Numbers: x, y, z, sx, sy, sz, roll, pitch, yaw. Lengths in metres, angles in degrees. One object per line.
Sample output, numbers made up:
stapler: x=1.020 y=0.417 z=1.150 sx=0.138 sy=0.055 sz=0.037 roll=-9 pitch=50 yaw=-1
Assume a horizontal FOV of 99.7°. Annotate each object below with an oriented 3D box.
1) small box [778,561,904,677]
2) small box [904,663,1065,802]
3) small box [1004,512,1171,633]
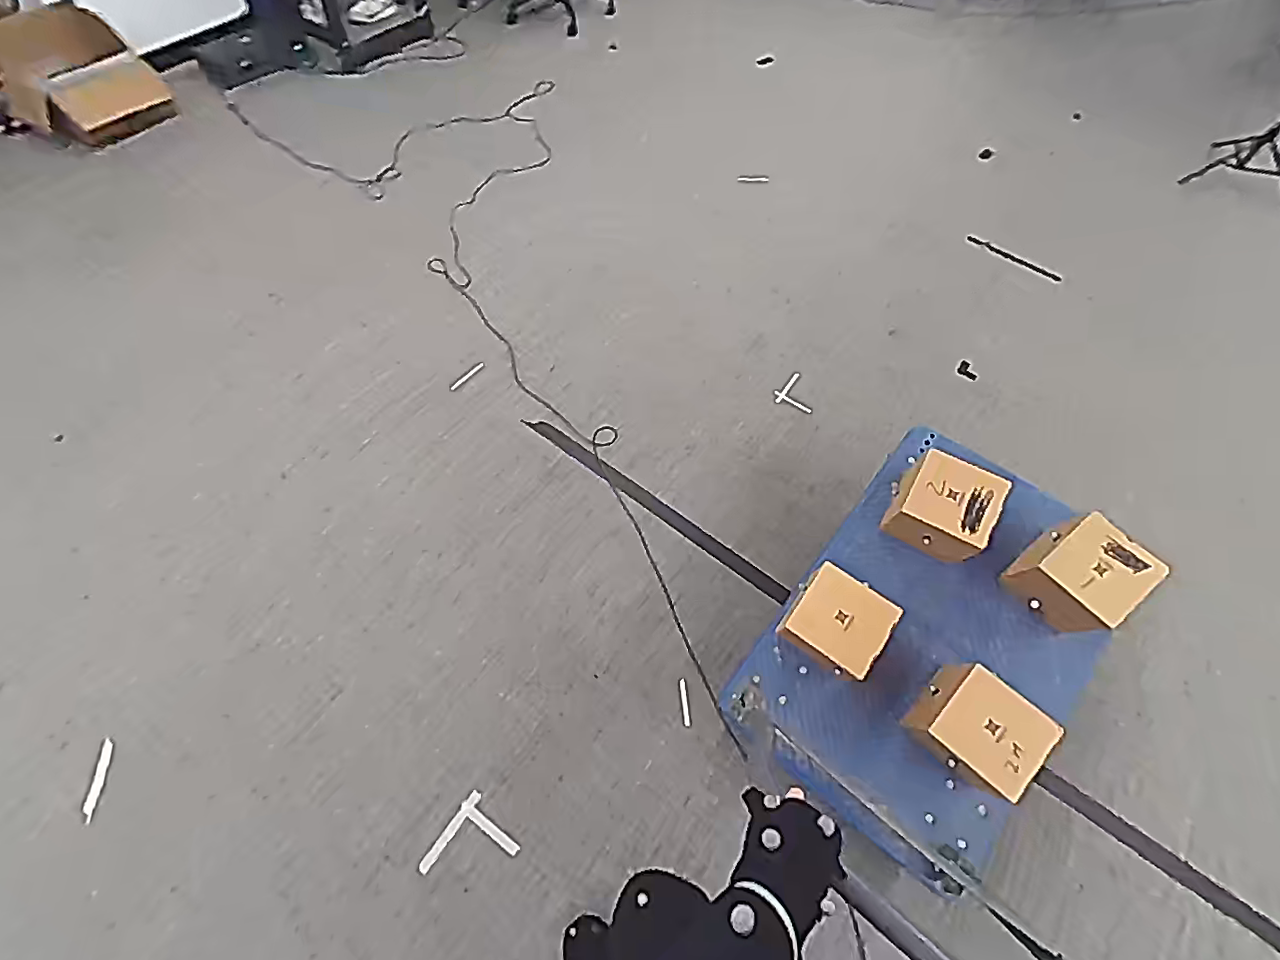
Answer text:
small box: x=0.417 y=0.301 z=1.155 sx=0.179 sy=0.176 sz=0.168 roll=34 pitch=78 yaw=15
small box: x=0.658 y=0.484 z=1.058 sx=0.179 sy=0.176 sz=0.168 roll=40 pitch=79 yaw=18
small box: x=0.916 y=0.199 z=1.128 sx=0.179 sy=0.176 sz=0.168 roll=-40 pitch=71 yaw=-6
